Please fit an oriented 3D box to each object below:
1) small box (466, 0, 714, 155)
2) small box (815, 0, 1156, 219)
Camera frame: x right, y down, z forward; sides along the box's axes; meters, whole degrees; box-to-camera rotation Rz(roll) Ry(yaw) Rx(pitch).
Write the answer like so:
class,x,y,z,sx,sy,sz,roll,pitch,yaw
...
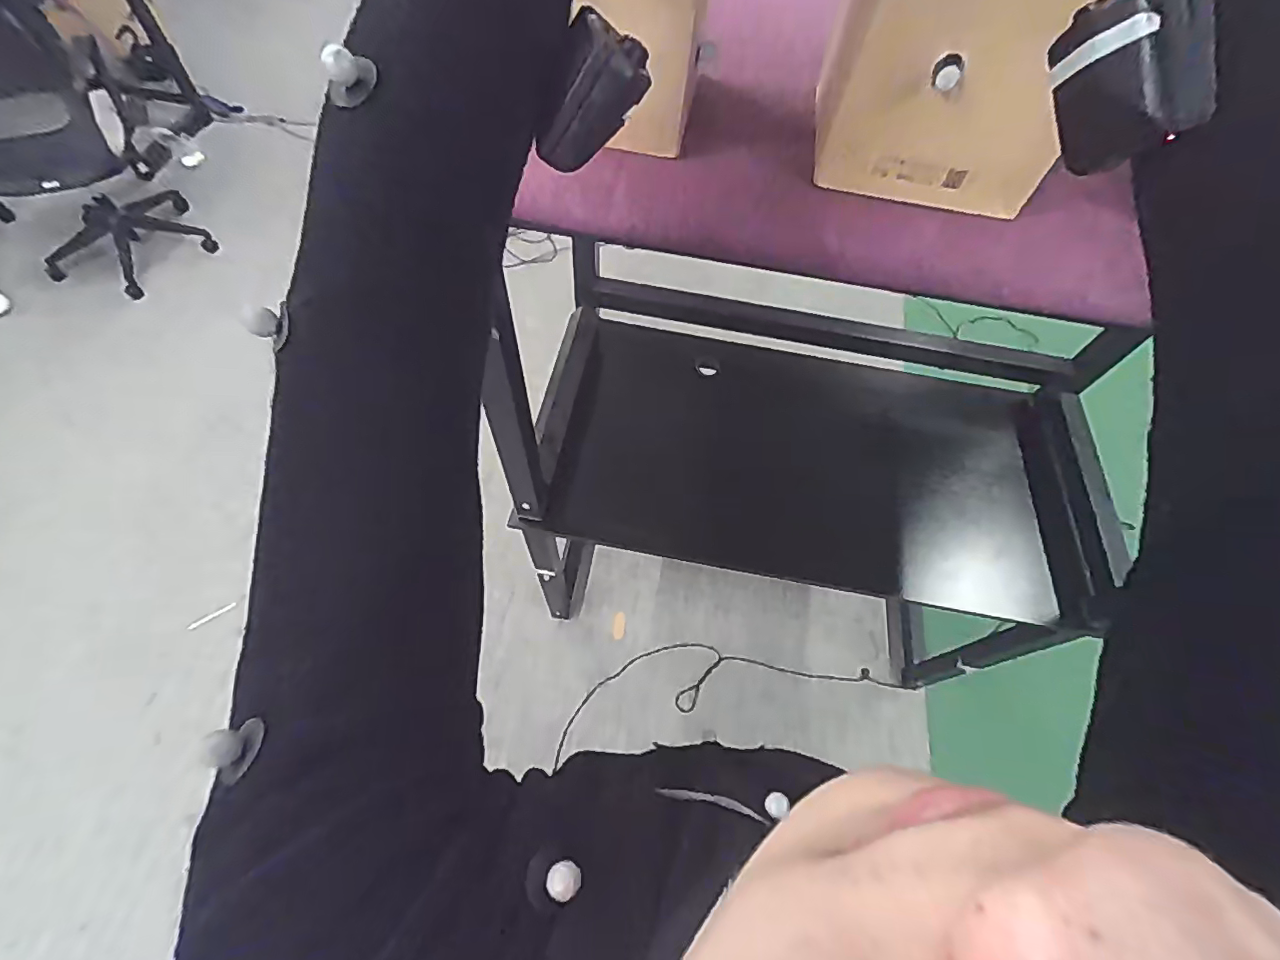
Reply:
class,x,y,z,sx,sy,sz,roll,pitch,yaw
small box,-0.033,-0.392,0.432,0.179,0.176,0.168,11,59,2
small box,0.244,-0.333,0.419,0.168,0.176,0.179,11,59,3
